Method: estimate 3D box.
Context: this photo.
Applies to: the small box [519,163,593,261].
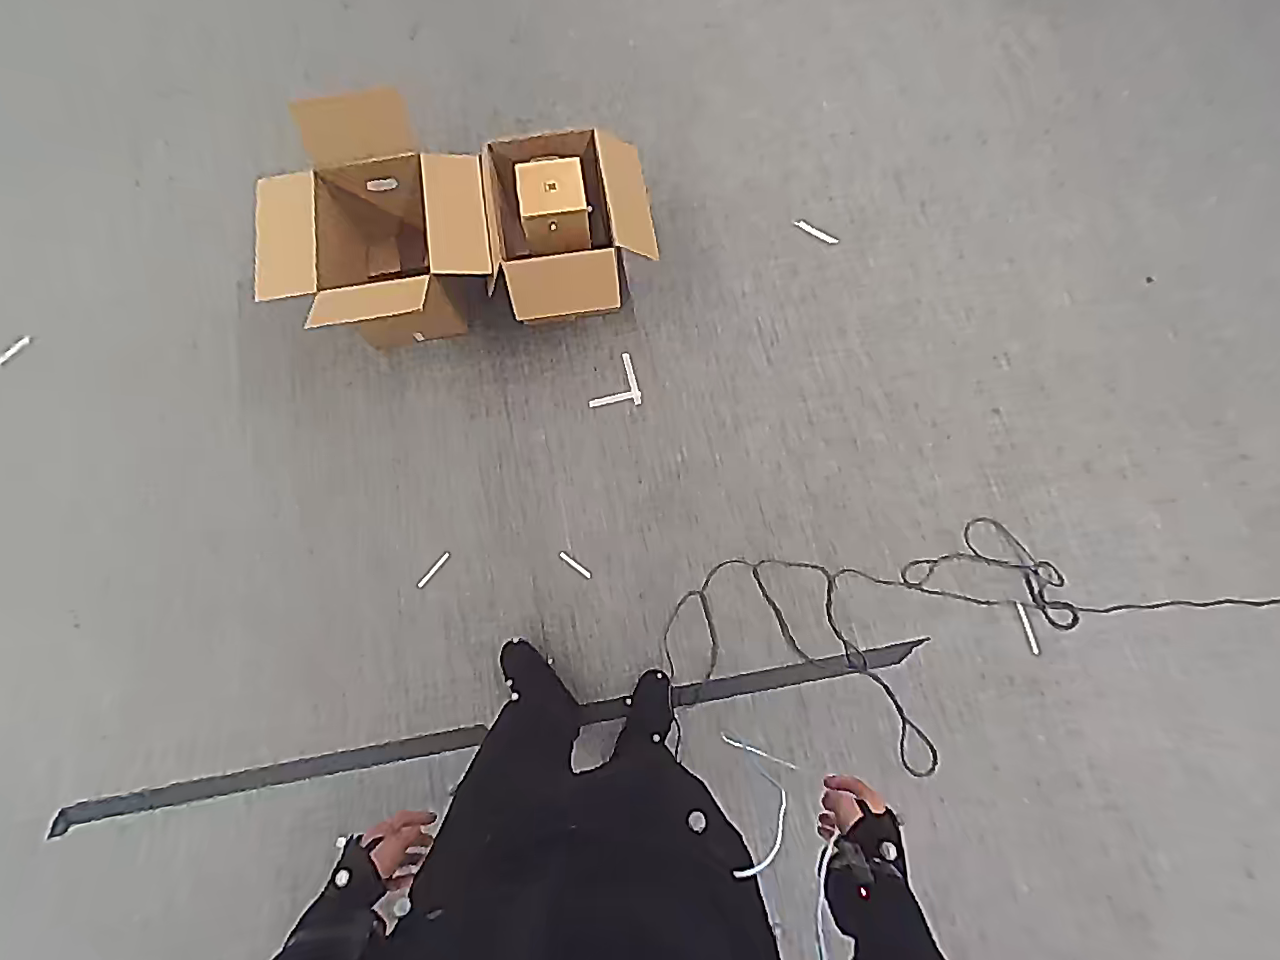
[{"bbox_3d":[-0.227,-0.737,1.500,0.179,0.176,0.168,-9,77,-1],"label":"small box"}]
